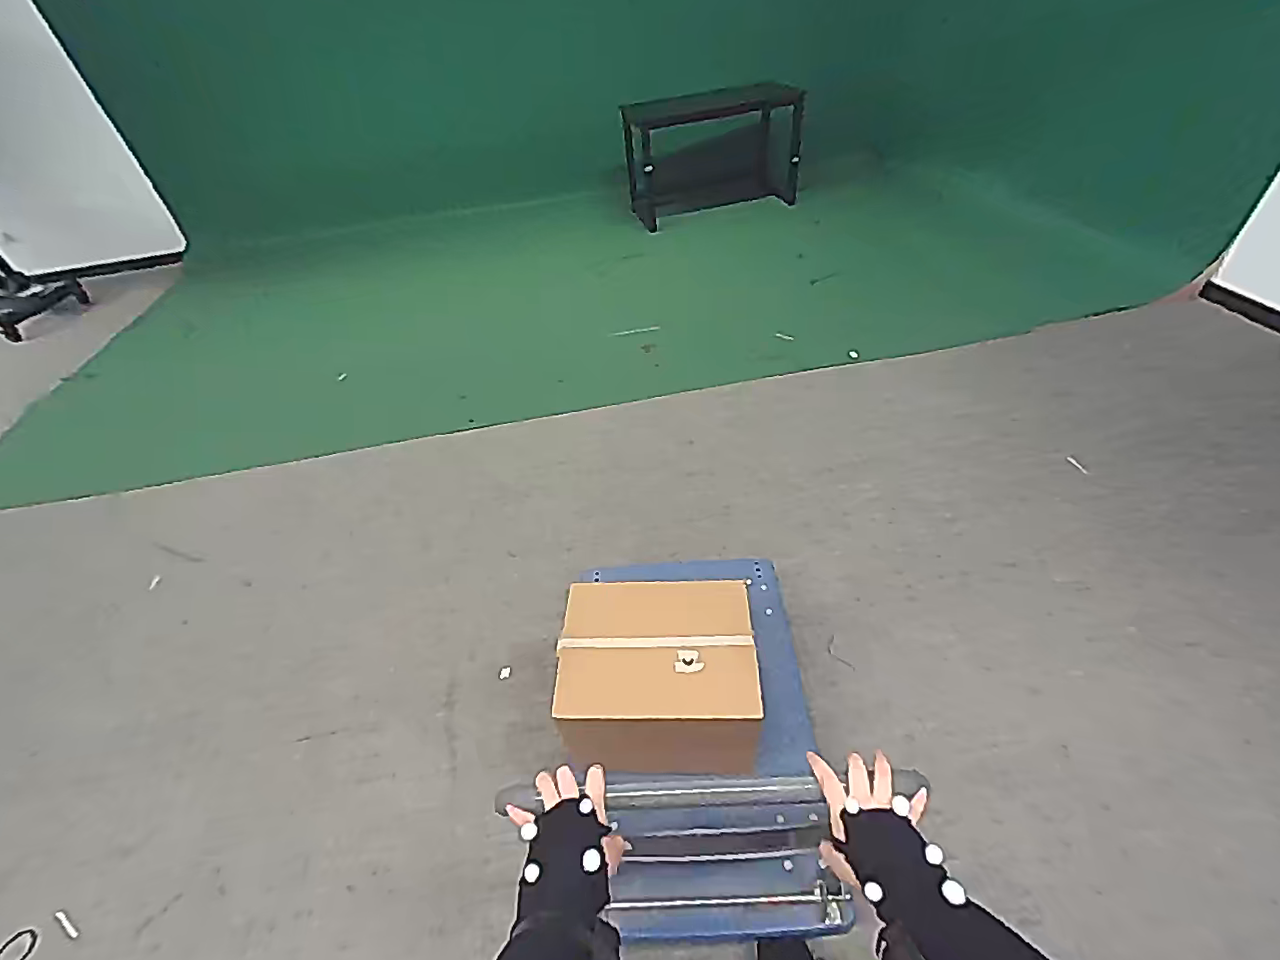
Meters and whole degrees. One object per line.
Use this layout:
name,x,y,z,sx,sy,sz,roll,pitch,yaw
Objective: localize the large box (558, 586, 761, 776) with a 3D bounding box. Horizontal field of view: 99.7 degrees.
large box,0.046,0.465,1.250,0.408,0.320,0.320,-1,44,4
